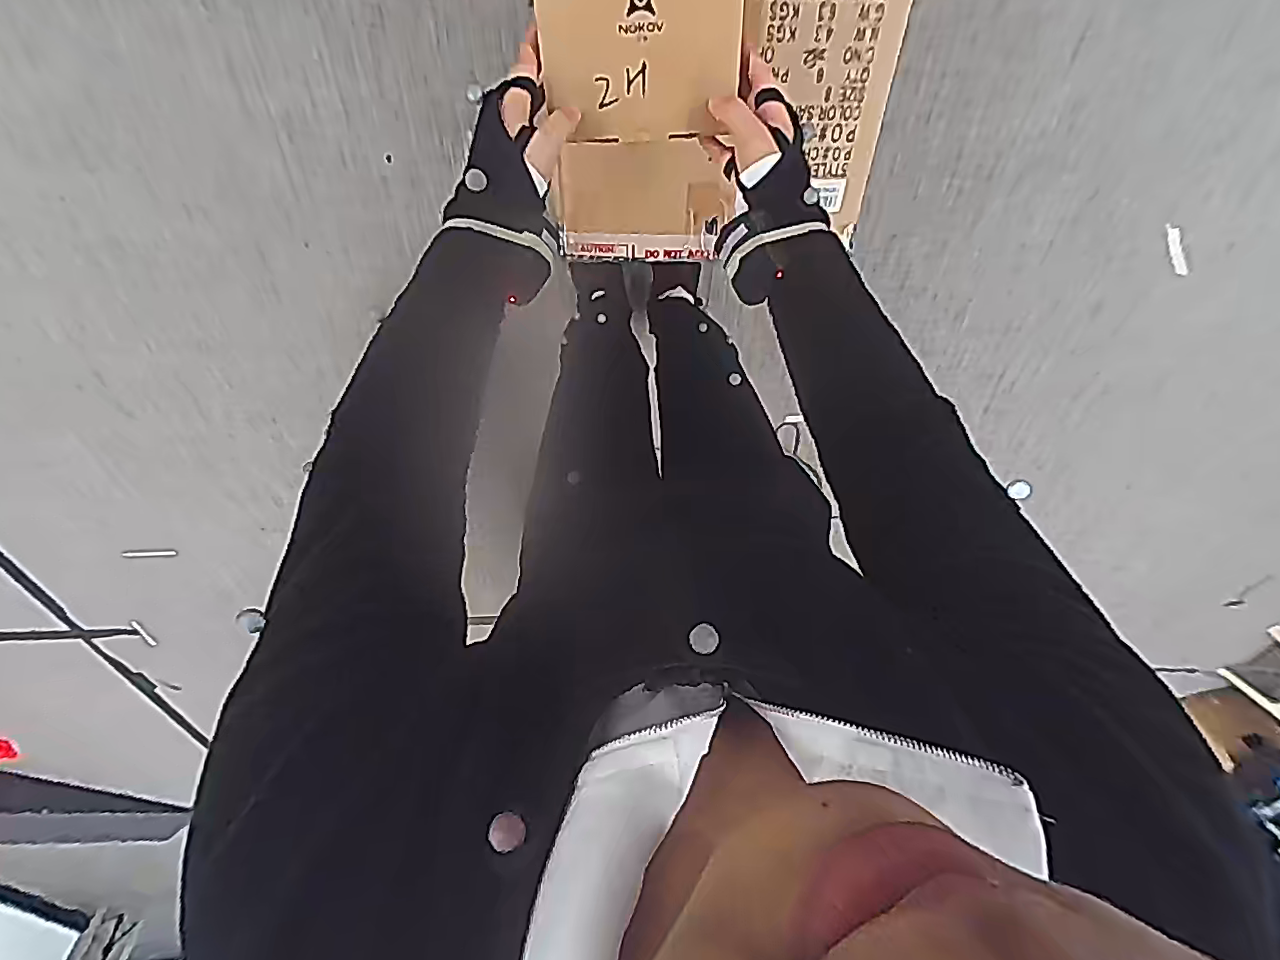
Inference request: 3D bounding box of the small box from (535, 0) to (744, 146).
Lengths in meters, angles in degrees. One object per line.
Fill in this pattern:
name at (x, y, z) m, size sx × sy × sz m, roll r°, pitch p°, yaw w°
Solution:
small box at (-0.004, -0.418, 0.482) m, size 0.168 × 0.176 × 0.179 m, roll -4°, pitch 132°, yaw 0°
